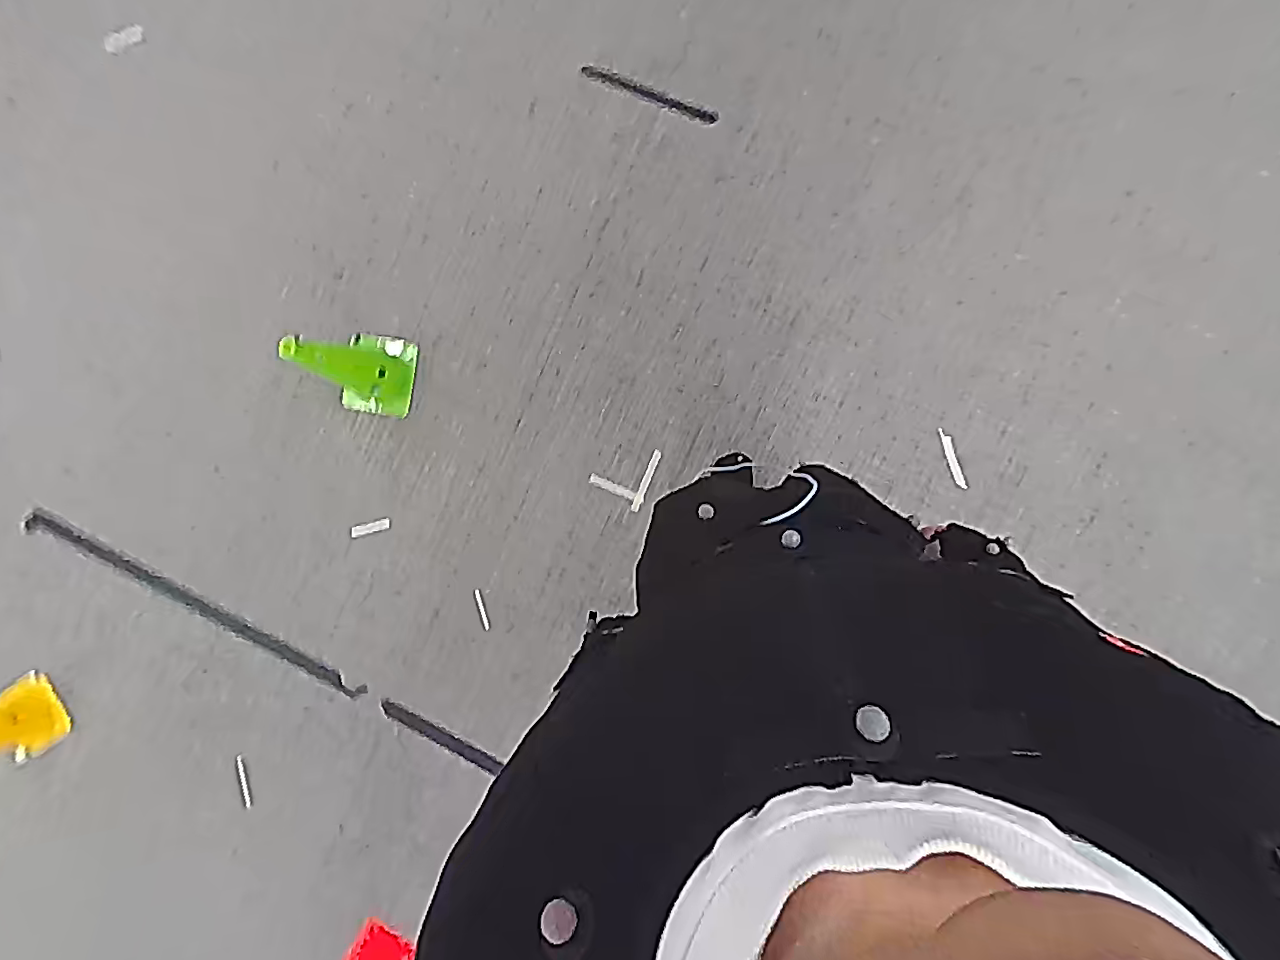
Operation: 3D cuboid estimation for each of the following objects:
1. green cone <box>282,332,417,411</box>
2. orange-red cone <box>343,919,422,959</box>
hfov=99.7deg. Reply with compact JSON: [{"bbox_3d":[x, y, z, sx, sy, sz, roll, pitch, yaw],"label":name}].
[{"bbox_3d":[-0.741,-0.295,1.336,0.202,0.368,0.200,10,93,4],"label":"green cone"},{"bbox_3d":[-0.764,1.392,1.389,0.199,0.360,0.198,33,94,5],"label":"orange-red cone"}]
